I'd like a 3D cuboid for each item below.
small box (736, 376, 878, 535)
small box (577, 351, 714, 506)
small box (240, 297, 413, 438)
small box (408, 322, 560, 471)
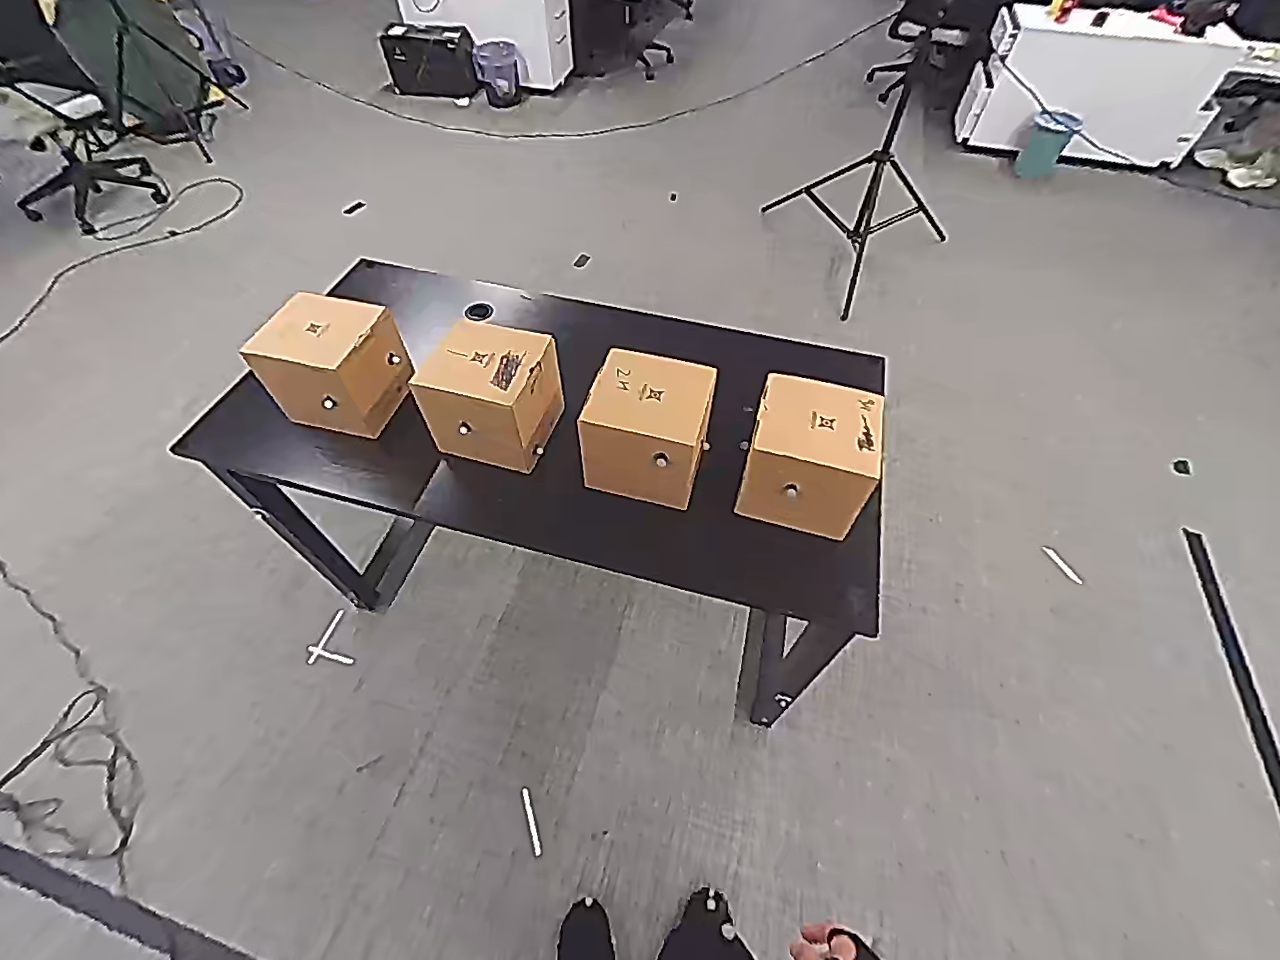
[{"bbox_3d":[0.255,-0.034,0.848,0.179,0.176,0.168,13,55,10],"label":"small box"},{"bbox_3d":[0.011,-0.078,0.877,0.179,0.176,0.168,12,54,8],"label":"small box"},{"bbox_3d":[-0.536,-0.194,0.959,0.179,0.176,0.168,11,54,7],"label":"small box"},{"bbox_3d":[-0.249,-0.137,0.919,0.179,0.176,0.168,13,55,10],"label":"small box"}]
